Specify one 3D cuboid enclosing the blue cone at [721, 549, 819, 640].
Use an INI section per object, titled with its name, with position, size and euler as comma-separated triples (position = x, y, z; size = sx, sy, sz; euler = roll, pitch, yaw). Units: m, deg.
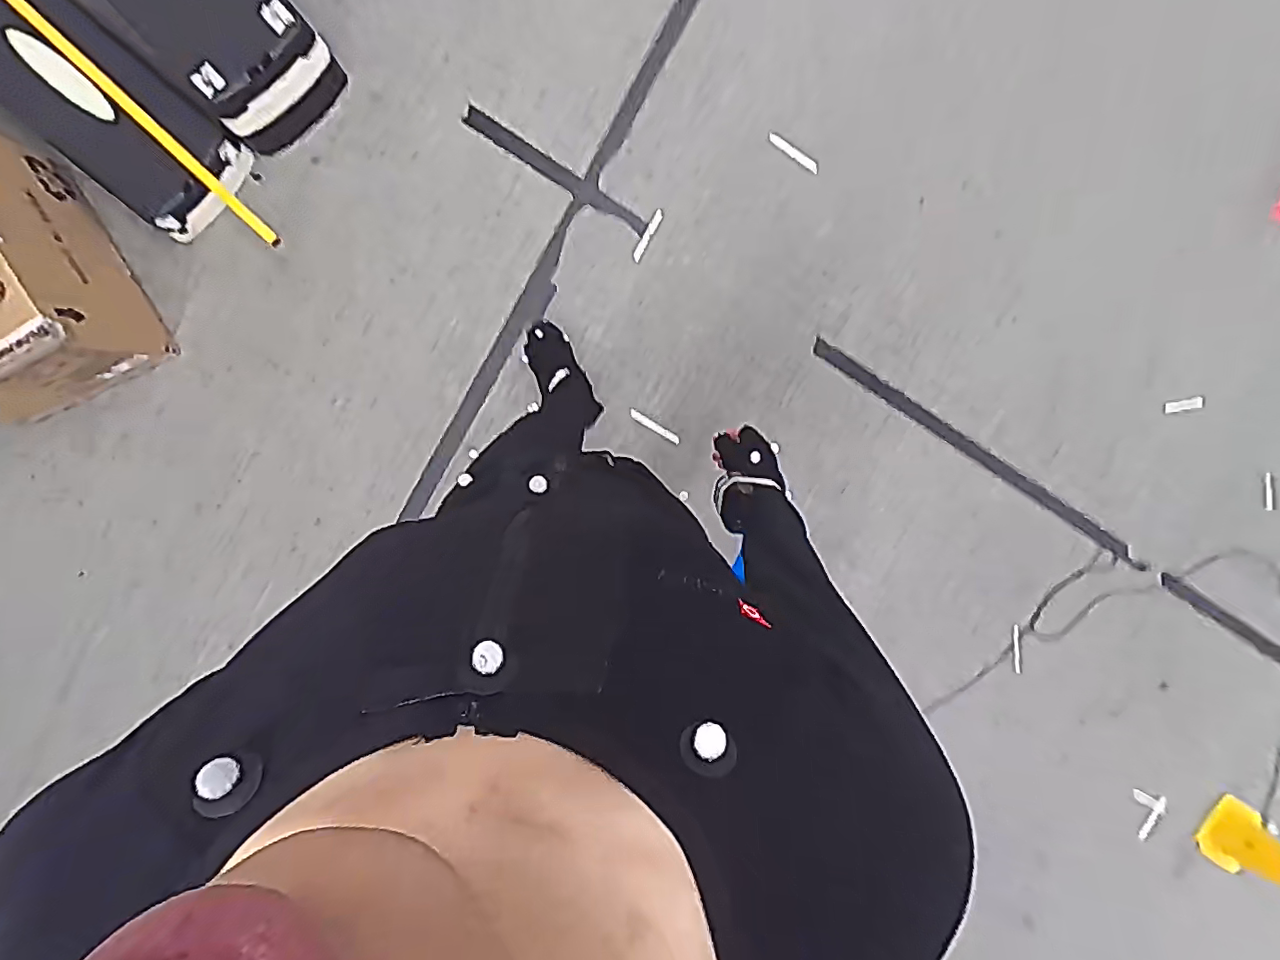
[blue cone]
position = 0.348, 0.318, 1.337
size = 0.193, 0.380, 0.192
euler = 25, 93, -6
